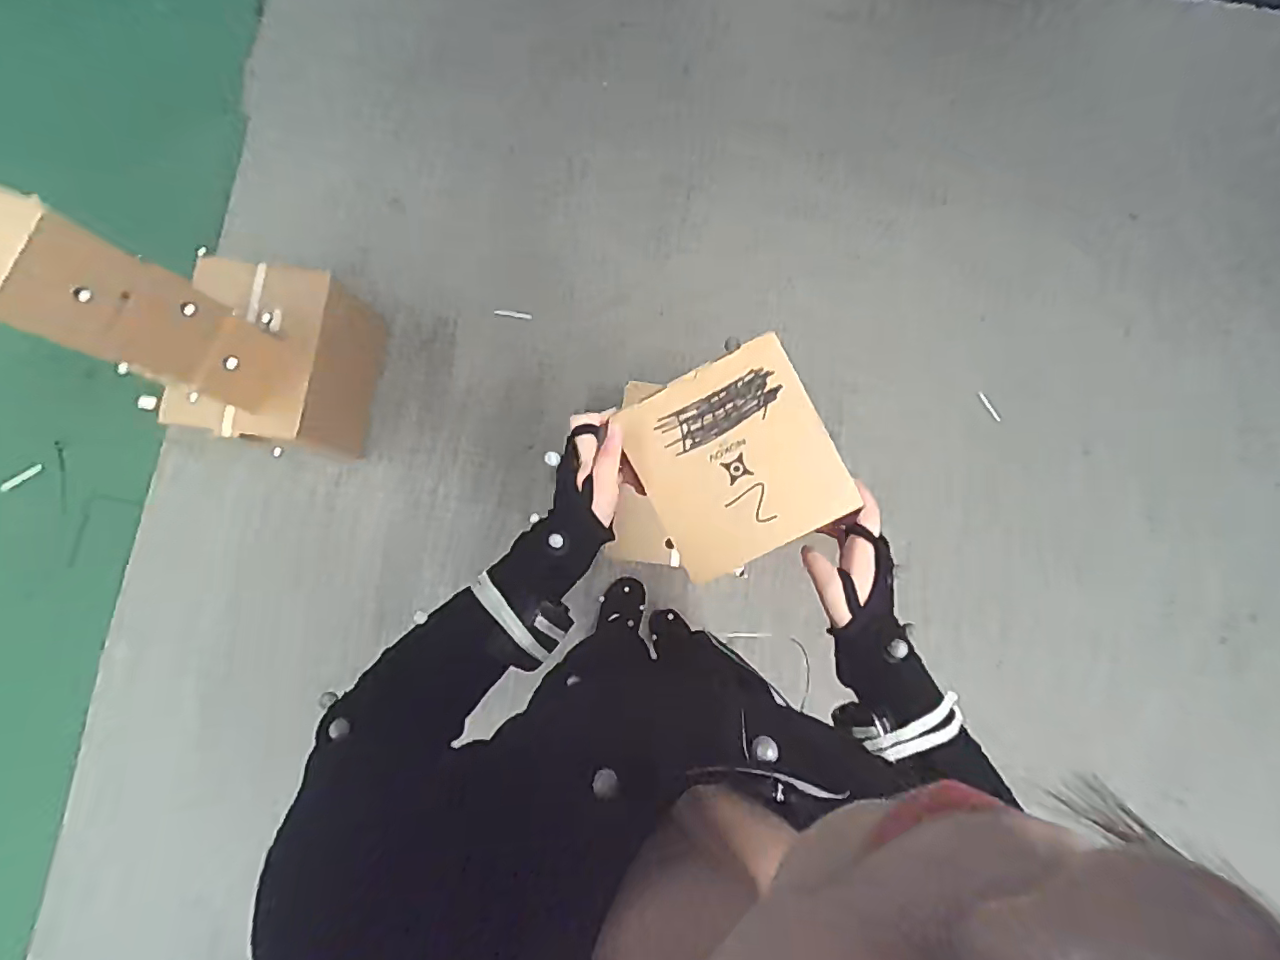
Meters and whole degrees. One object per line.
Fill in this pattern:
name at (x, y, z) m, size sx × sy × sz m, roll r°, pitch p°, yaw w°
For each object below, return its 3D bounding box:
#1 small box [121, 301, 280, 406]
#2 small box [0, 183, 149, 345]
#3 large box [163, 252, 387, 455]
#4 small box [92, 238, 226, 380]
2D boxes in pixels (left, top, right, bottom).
small box at (-0.895, -0.275, 1.124) m, size 0.168 × 0.176 × 0.179 m, roll 18°, pitch 84°, yaw 1°
small box at (-0.901, -0.321, 0.800) m, size 0.179 × 0.176 × 0.168 m, roll 22°, pitch 83°, yaw 2°
large box at (-0.889, -0.296, 1.371) m, size 0.320 × 0.320 × 0.408 m, roll 8°, pitch 82°, yaw -1°
small box at (-0.895, -0.304, 0.964) m, size 0.168 × 0.176 × 0.179 m, roll 22°, pitch 84°, yaw 2°
